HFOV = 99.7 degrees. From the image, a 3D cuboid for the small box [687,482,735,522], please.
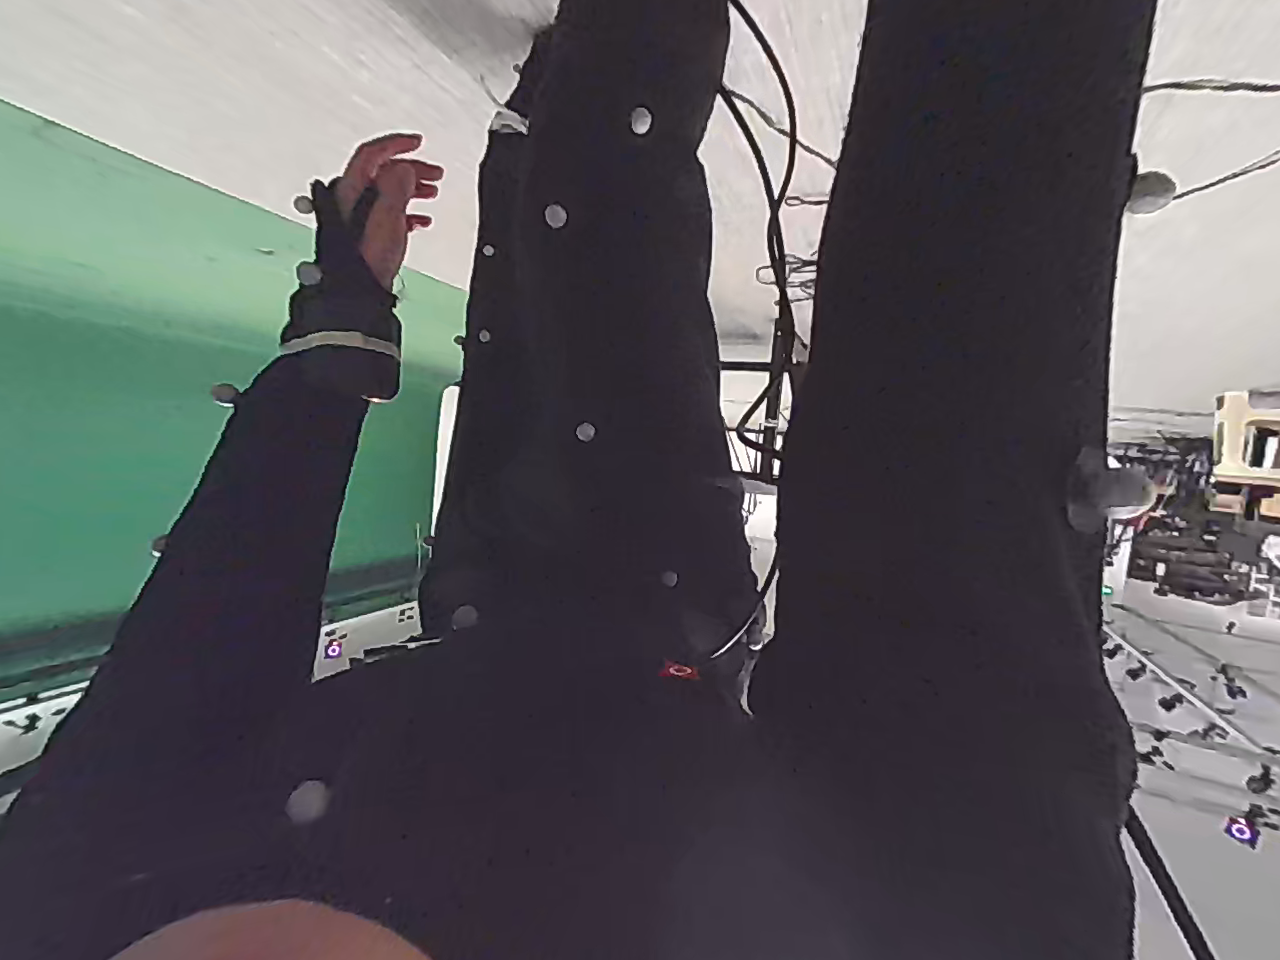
[{"bbox_3d":[0.344,0.099,2.593,0.168,0.176,0.179,9,-174,32],"label":"small box"}]
